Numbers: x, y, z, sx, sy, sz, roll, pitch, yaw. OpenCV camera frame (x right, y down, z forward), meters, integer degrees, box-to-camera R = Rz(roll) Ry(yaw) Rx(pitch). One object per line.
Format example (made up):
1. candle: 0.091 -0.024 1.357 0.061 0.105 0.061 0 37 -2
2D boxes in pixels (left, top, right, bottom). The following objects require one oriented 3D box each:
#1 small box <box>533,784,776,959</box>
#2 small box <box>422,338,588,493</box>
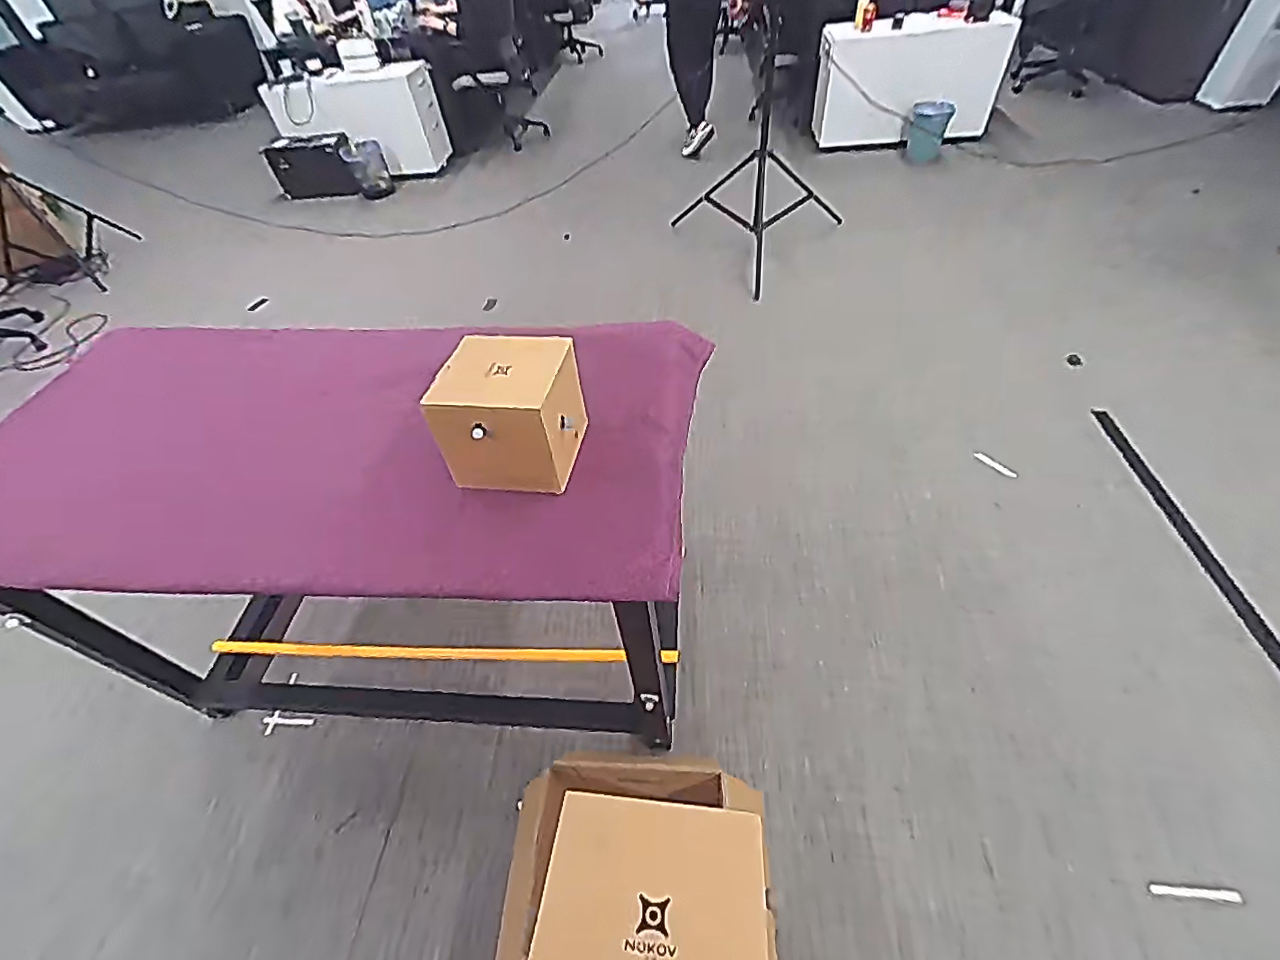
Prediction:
1. small box: 0.013 0.379 0.427 0.168 0.176 0.179 3 35 7
2. small box: -0.188 -0.096 0.821 0.179 0.176 0.168 3 48 11
